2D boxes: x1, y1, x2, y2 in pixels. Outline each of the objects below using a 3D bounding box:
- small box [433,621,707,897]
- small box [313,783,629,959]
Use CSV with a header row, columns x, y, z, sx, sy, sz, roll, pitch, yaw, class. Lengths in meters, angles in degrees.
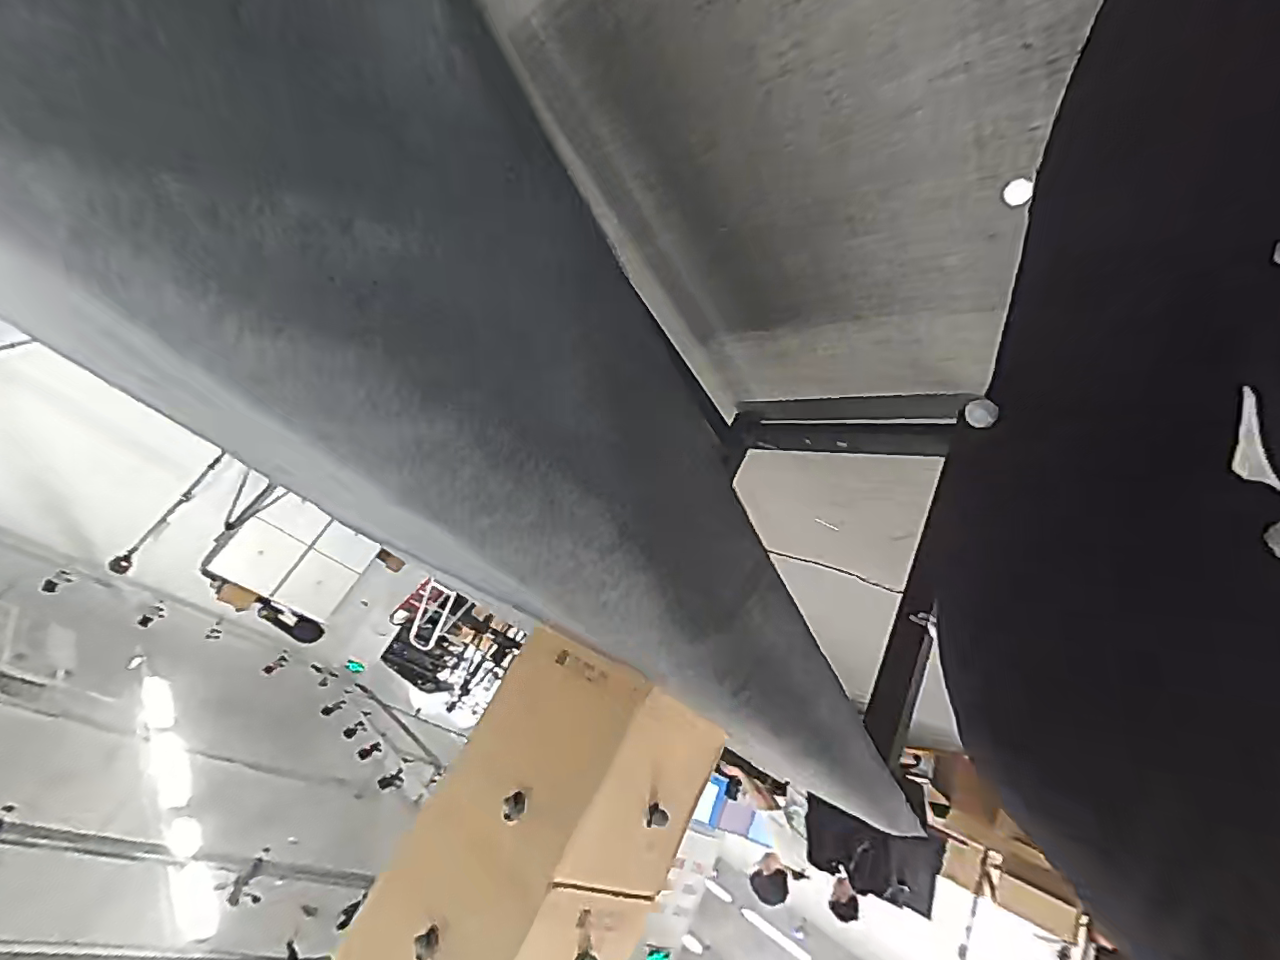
x,y,z,sx,sy,sz,roll,pitch,yaw,class
-0.058,0.270,0.542,0.168,0.176,0.179,11,151,42,small box
-0.143,0.401,0.488,0.179,0.176,0.168,10,150,42,small box
